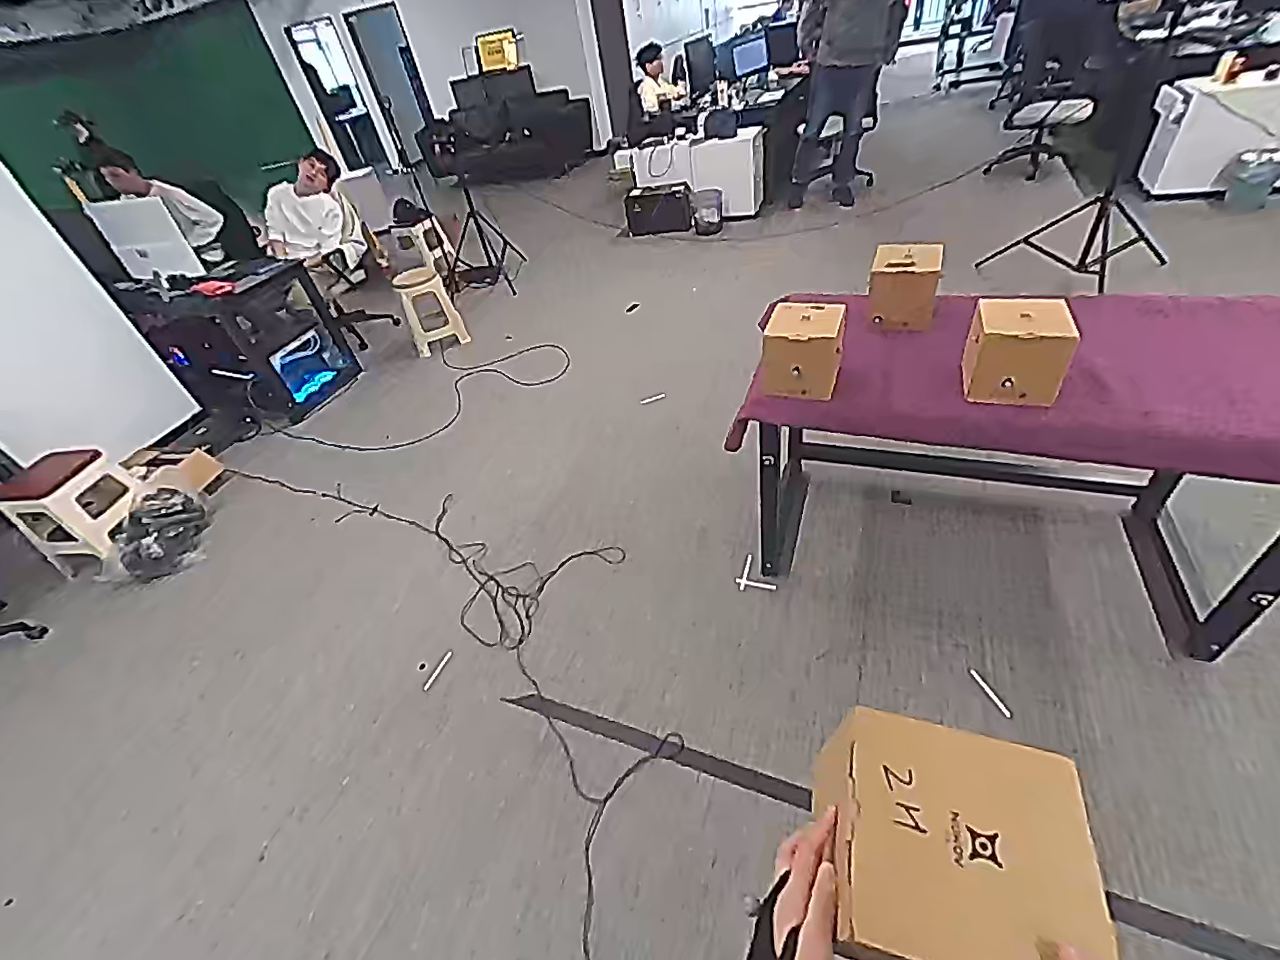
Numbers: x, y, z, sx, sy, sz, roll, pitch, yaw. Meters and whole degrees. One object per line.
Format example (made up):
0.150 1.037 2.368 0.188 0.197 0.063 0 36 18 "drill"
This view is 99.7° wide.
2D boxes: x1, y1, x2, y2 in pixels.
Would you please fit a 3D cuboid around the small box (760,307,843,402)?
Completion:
0.400 -0.311 1.338 0.168 0.176 0.179 10 45 22 "small box"

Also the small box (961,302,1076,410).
0.826 -0.278 1.201 0.168 0.176 0.179 7 44 21 "small box"

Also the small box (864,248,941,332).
0.726 -0.527 1.503 0.168 0.176 0.179 10 46 23 "small box"

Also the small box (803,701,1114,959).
0.252 0.322 0.471 0.179 0.176 0.168 10 50 12 "small box"
